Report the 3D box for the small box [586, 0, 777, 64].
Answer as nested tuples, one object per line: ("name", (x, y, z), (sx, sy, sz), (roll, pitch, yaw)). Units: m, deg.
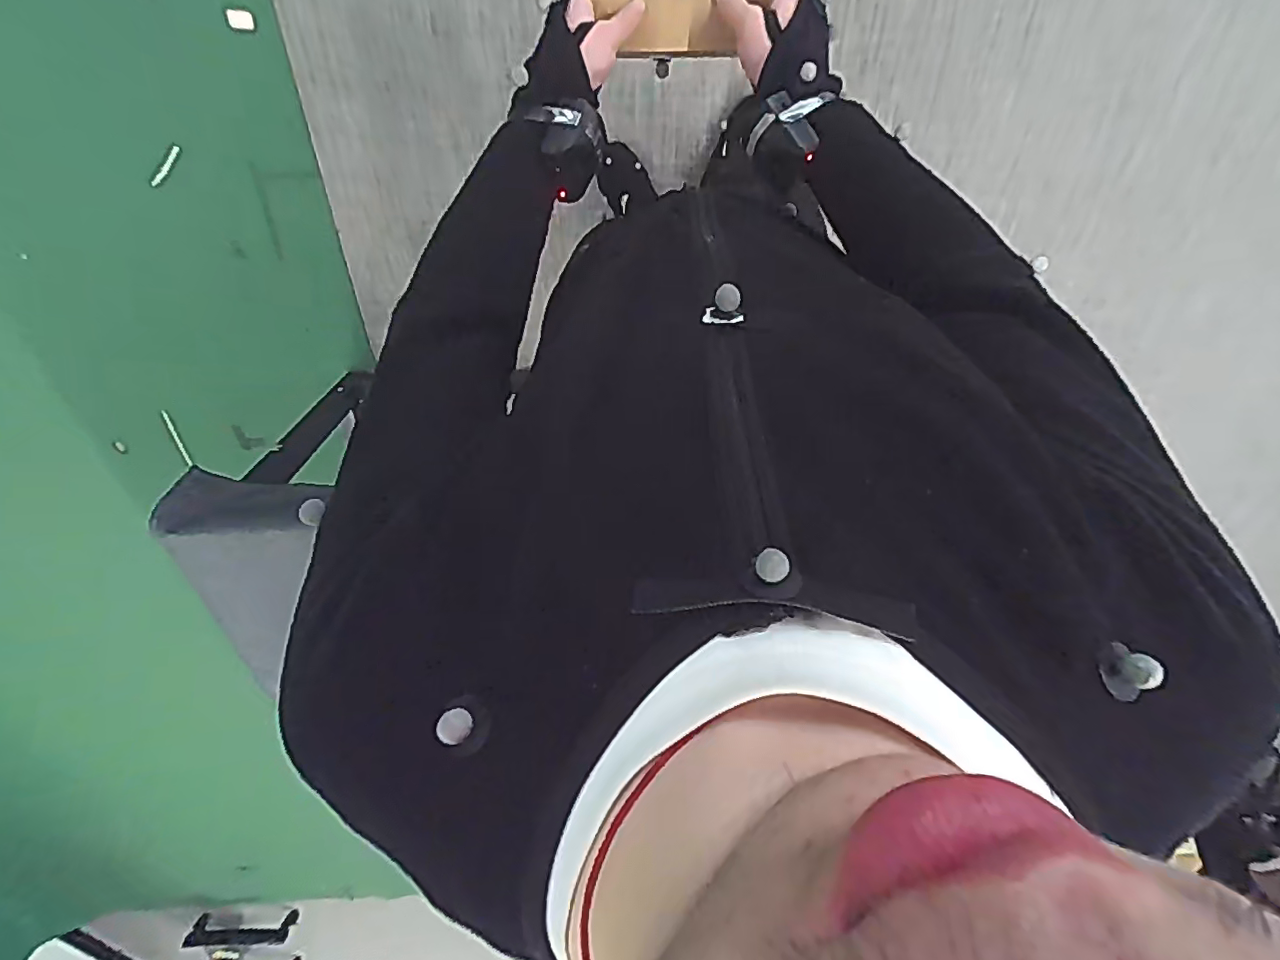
("small box", (0.037, -0.497, 0.494), (0.168, 0.176, 0.179), (1, 127, 0))
